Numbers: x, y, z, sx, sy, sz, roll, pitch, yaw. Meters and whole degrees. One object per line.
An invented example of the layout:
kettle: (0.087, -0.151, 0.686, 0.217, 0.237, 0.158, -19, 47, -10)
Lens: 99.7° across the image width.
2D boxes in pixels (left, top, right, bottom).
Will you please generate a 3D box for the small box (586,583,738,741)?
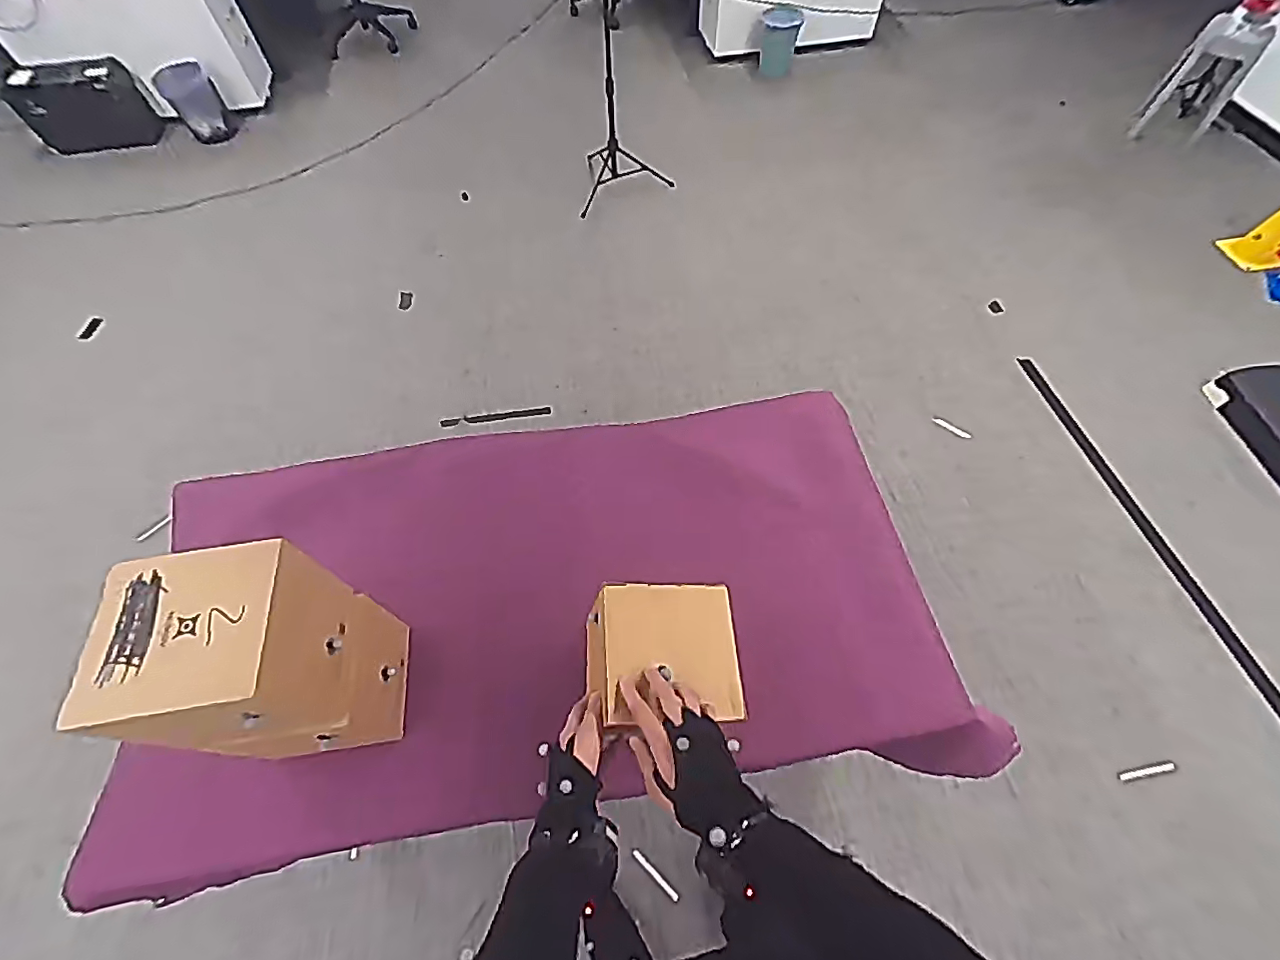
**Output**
small box: (0.018, 0.249, 0.720, 0.168, 0.179, 0.176, 4, 60, -11)

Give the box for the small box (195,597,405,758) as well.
small box: (-0.439, 0.273, 0.737, 0.179, 0.176, 0.168, -8, 59, -3)
